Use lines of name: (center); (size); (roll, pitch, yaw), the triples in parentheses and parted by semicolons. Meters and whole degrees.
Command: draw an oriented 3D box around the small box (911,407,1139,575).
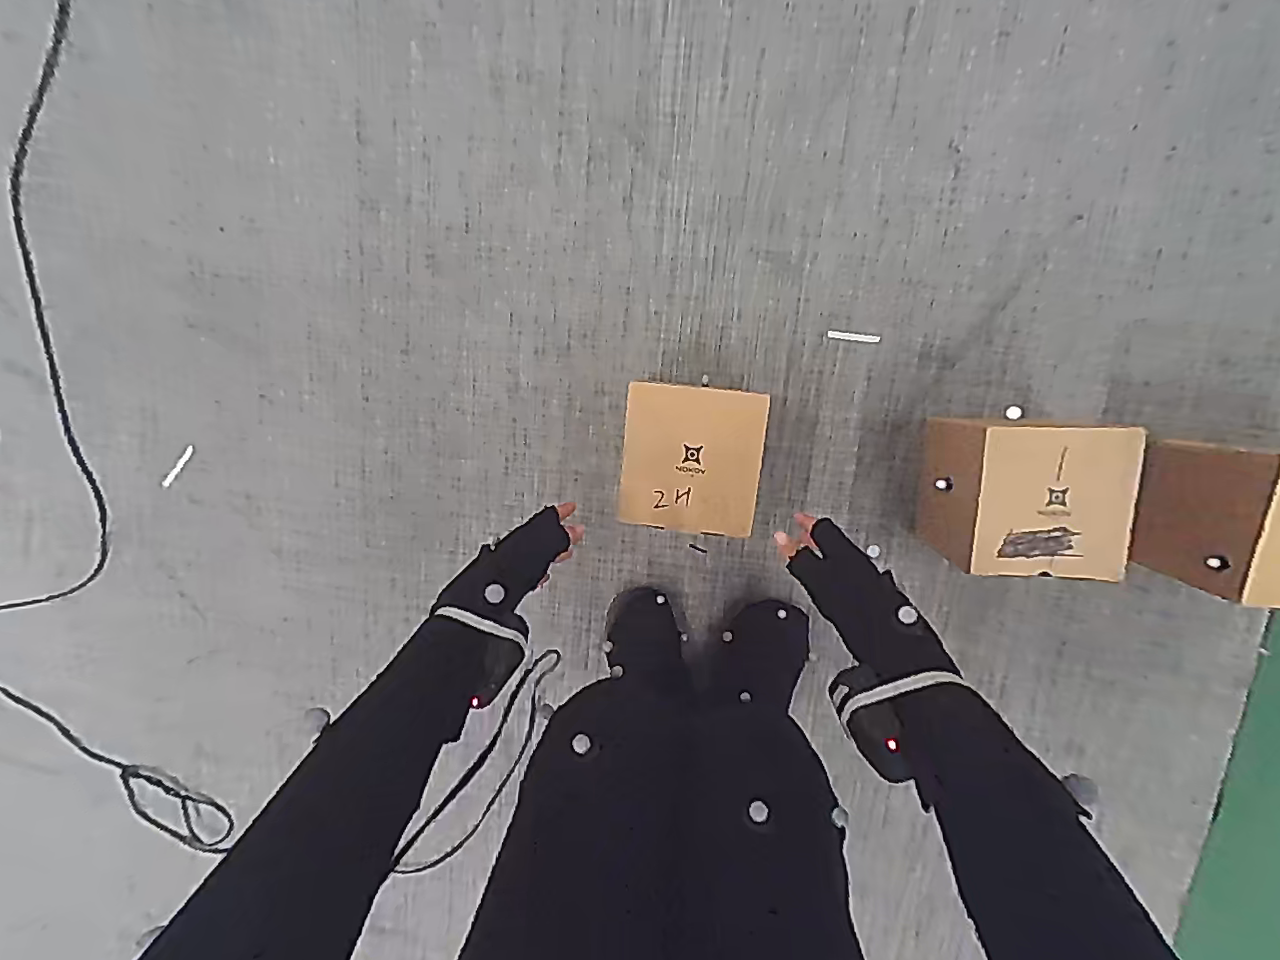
small box: (0.467, 0.004, 0.690); (0.168, 0.176, 0.179); (3, 101, 5)

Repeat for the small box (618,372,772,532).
small box: (0.071, -0.046, 0.722); (0.168, 0.176, 0.179); (7, 101, 6)

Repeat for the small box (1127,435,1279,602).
small box: (0.759, 0.041, 0.664); (0.168, 0.176, 0.179); (6, 101, 6)
